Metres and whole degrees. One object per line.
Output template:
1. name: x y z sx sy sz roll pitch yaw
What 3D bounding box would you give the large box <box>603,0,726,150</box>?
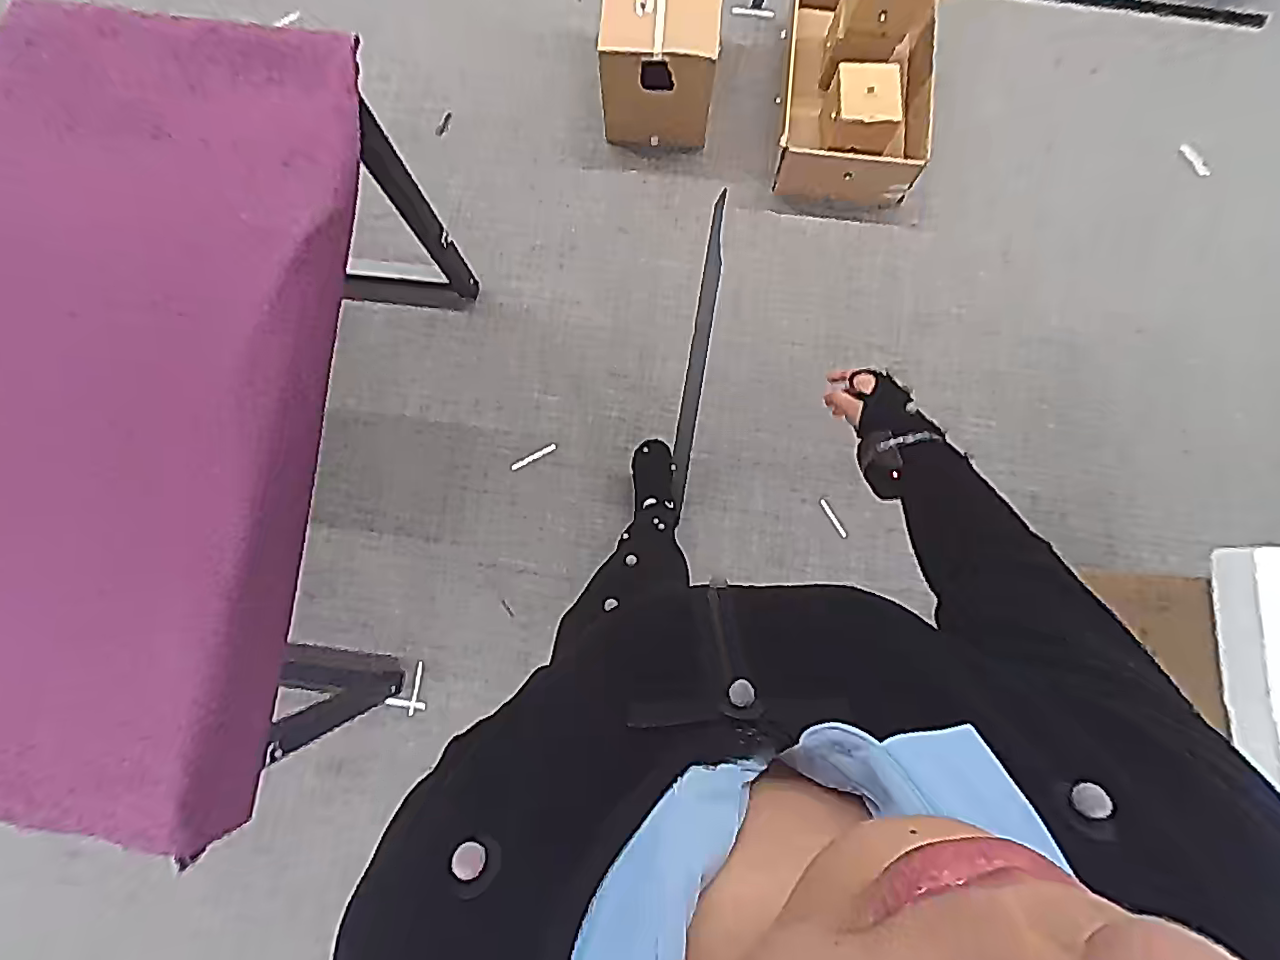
1. large box: 0.070 -1.243 1.546 0.320 0.320 0.408 4 83 2

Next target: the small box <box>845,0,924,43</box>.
1. small box: 0.646 -1.285 1.399 0.168 0.176 0.179 6 84 0
